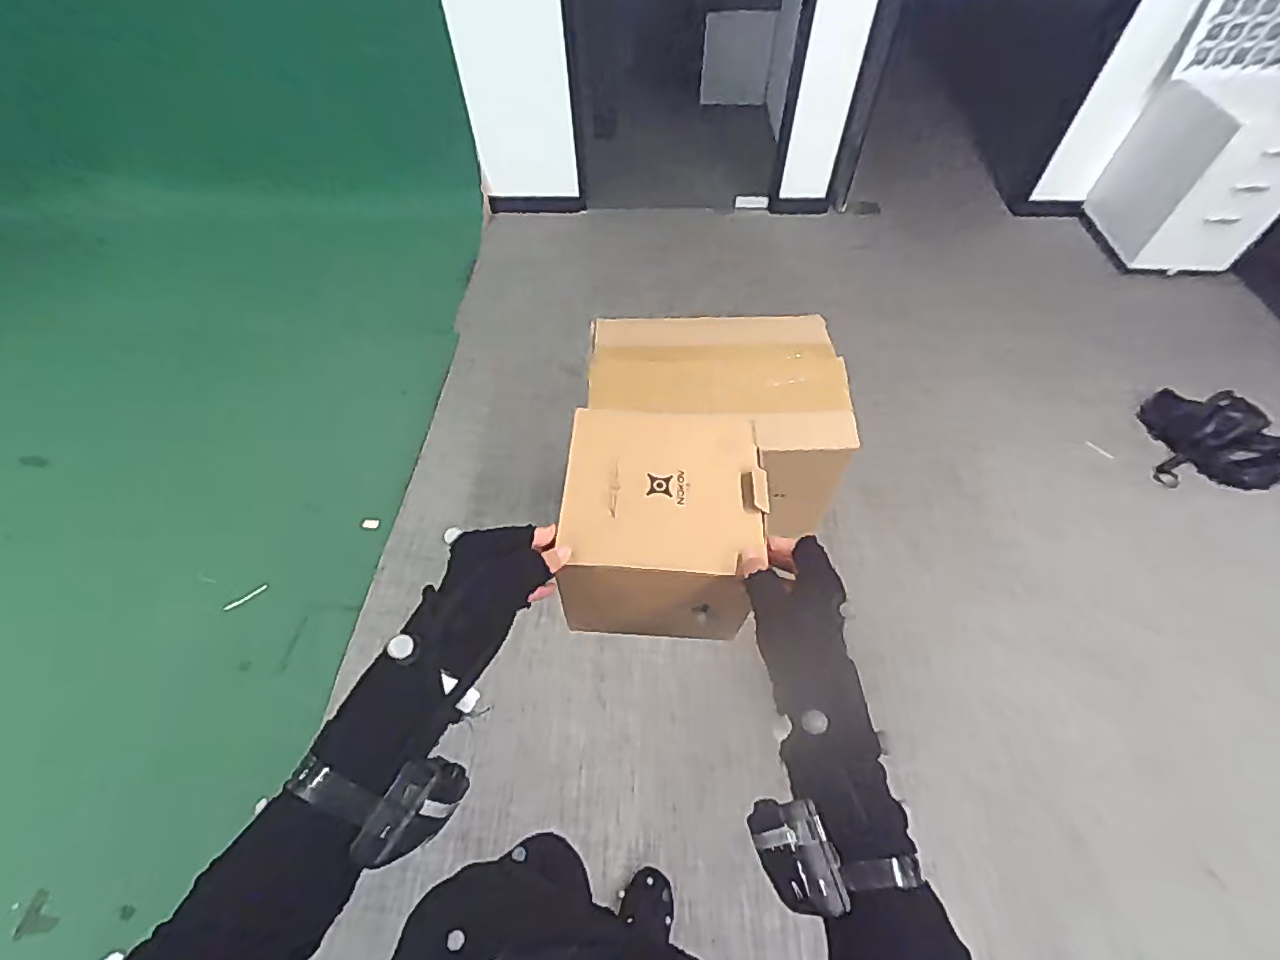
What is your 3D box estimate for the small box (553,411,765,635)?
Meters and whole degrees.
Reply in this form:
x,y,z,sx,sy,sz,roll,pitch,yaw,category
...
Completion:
x,y,z,sx,sy,sz,roll,pitch,yaw,category
0.017,0.050,0.549,0.179,0.176,0.168,2,55,1,small box
